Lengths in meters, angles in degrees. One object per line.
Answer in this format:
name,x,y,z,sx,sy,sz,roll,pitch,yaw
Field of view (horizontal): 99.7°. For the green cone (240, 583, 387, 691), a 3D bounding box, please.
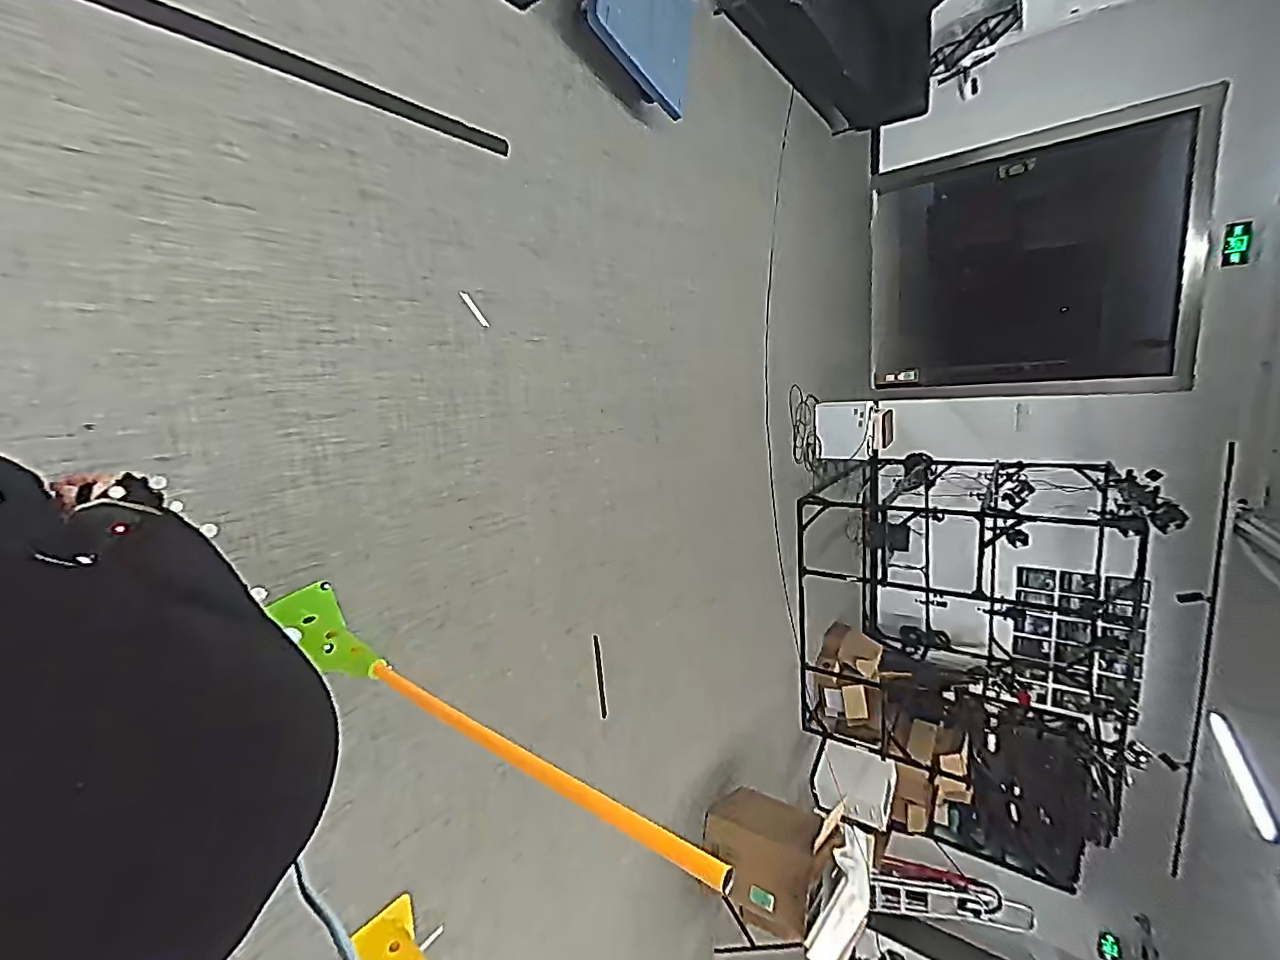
green cone,-0.686,0.387,1.203,0.200,0.368,0.202,-33,121,-49
